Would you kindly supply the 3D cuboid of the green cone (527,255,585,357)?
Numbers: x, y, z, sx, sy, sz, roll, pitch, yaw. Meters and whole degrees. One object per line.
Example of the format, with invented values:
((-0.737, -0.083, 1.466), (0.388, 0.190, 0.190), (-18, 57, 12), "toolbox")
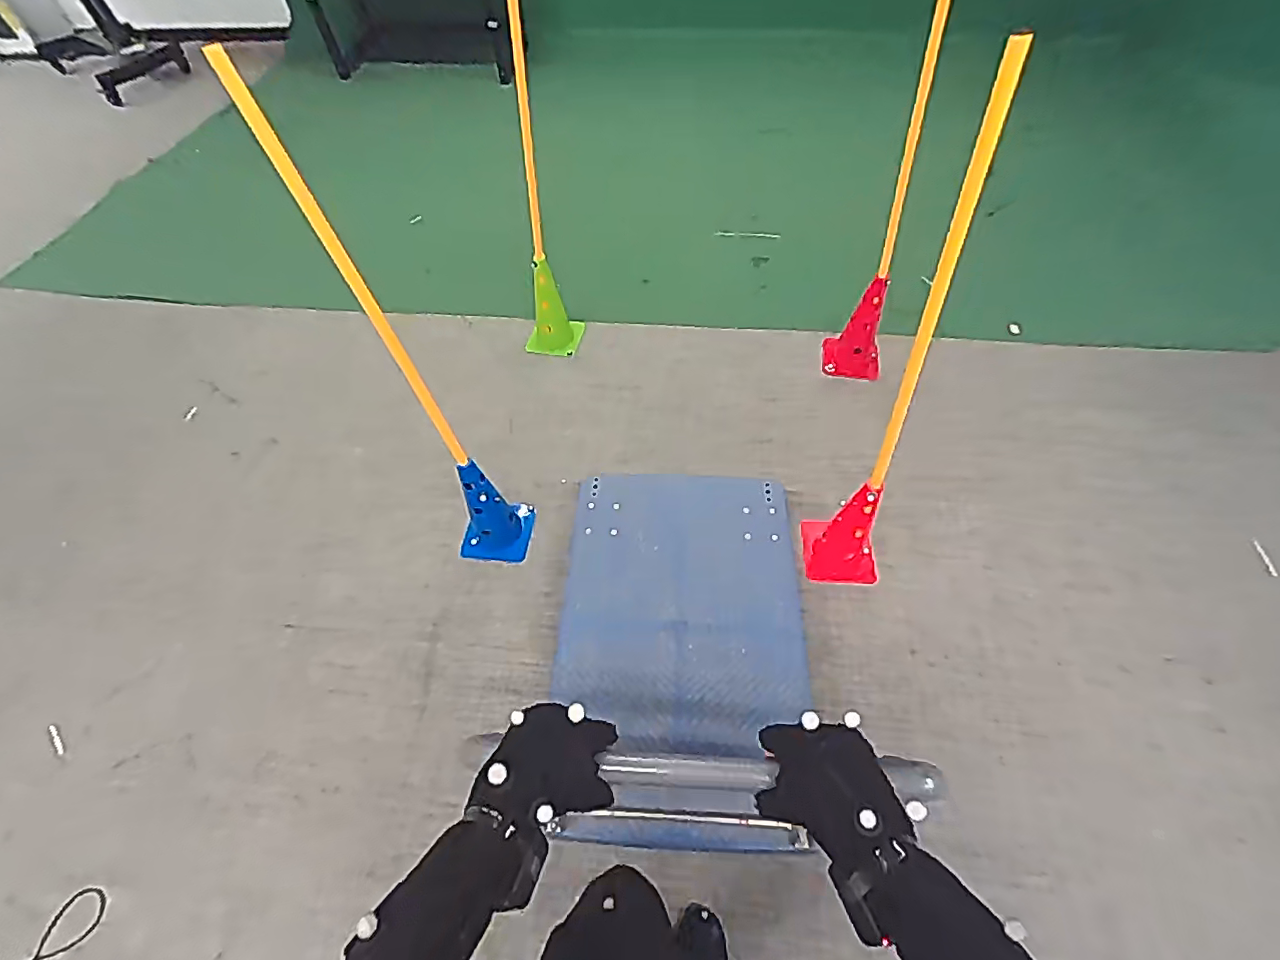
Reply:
((-0.339, -0.664, 2.011), (0.202, 0.368, 0.200), (8, 56, 8), "green cone")

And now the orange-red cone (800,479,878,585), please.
((0.564, 0.115, 1.447), (0.199, 0.360, 0.198), (3, 55, 6), "orange-red cone")
